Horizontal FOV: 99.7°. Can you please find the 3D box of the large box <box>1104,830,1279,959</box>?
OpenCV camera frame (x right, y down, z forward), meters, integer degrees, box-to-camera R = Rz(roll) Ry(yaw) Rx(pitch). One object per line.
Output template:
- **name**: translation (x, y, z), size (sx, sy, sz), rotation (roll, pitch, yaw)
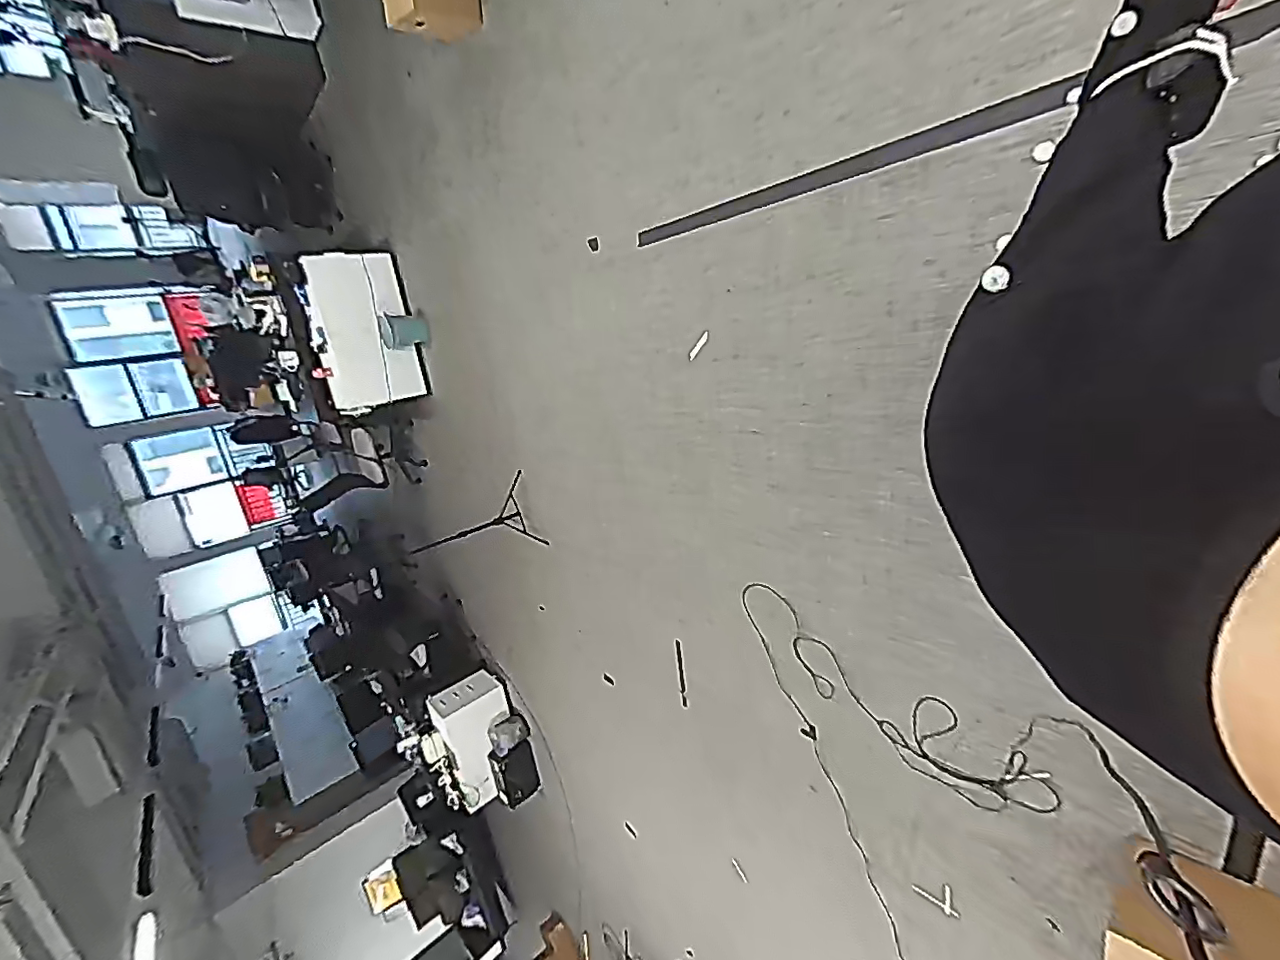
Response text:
- **large box**: translation (1.311, 1.090, 1.183), size (0.408, 0.320, 0.320), rotation (6, 111, 50)
